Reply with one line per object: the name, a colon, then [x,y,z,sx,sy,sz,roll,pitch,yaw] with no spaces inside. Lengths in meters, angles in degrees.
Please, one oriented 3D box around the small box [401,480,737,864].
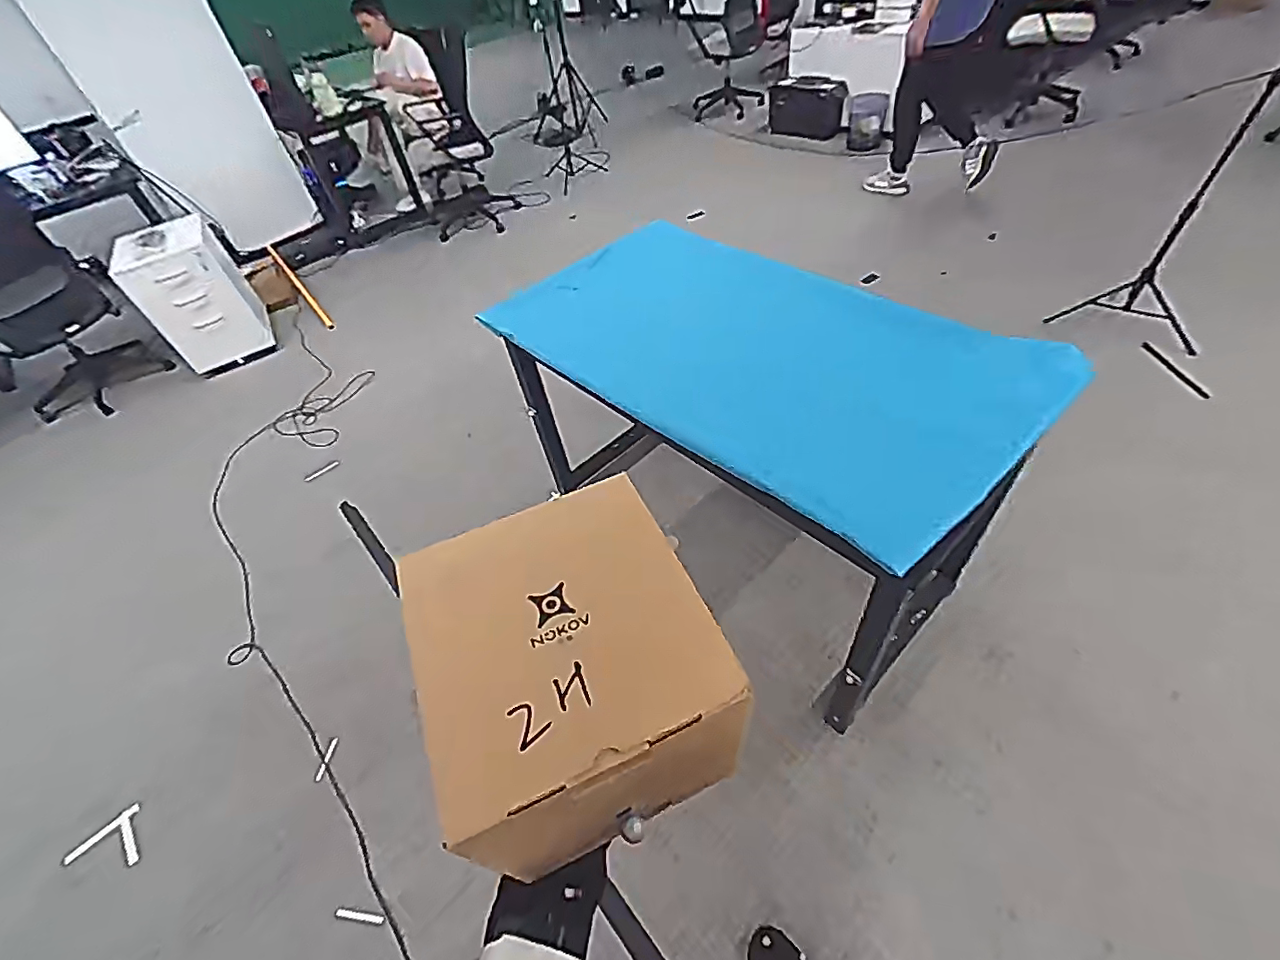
small box: [-0.047,0.136,0.380,0.168,0.176,0.179,-20,52,-9]
